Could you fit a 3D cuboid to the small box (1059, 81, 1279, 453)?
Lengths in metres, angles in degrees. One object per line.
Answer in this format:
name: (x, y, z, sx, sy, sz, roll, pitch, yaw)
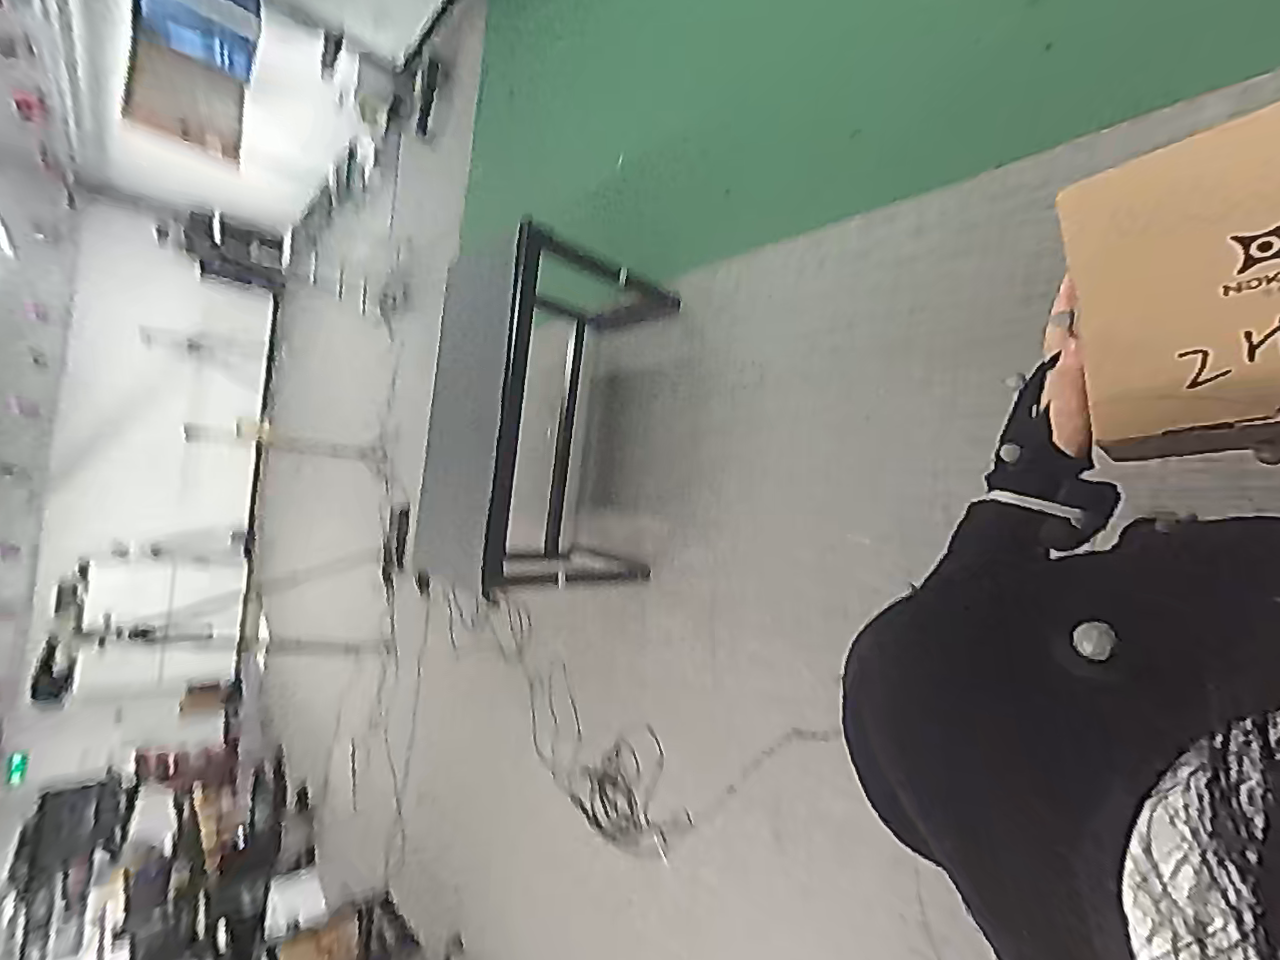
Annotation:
small box: (0.389, -0.121, 0.343, 0.168, 0.176, 0.179, -11, 80, 44)
